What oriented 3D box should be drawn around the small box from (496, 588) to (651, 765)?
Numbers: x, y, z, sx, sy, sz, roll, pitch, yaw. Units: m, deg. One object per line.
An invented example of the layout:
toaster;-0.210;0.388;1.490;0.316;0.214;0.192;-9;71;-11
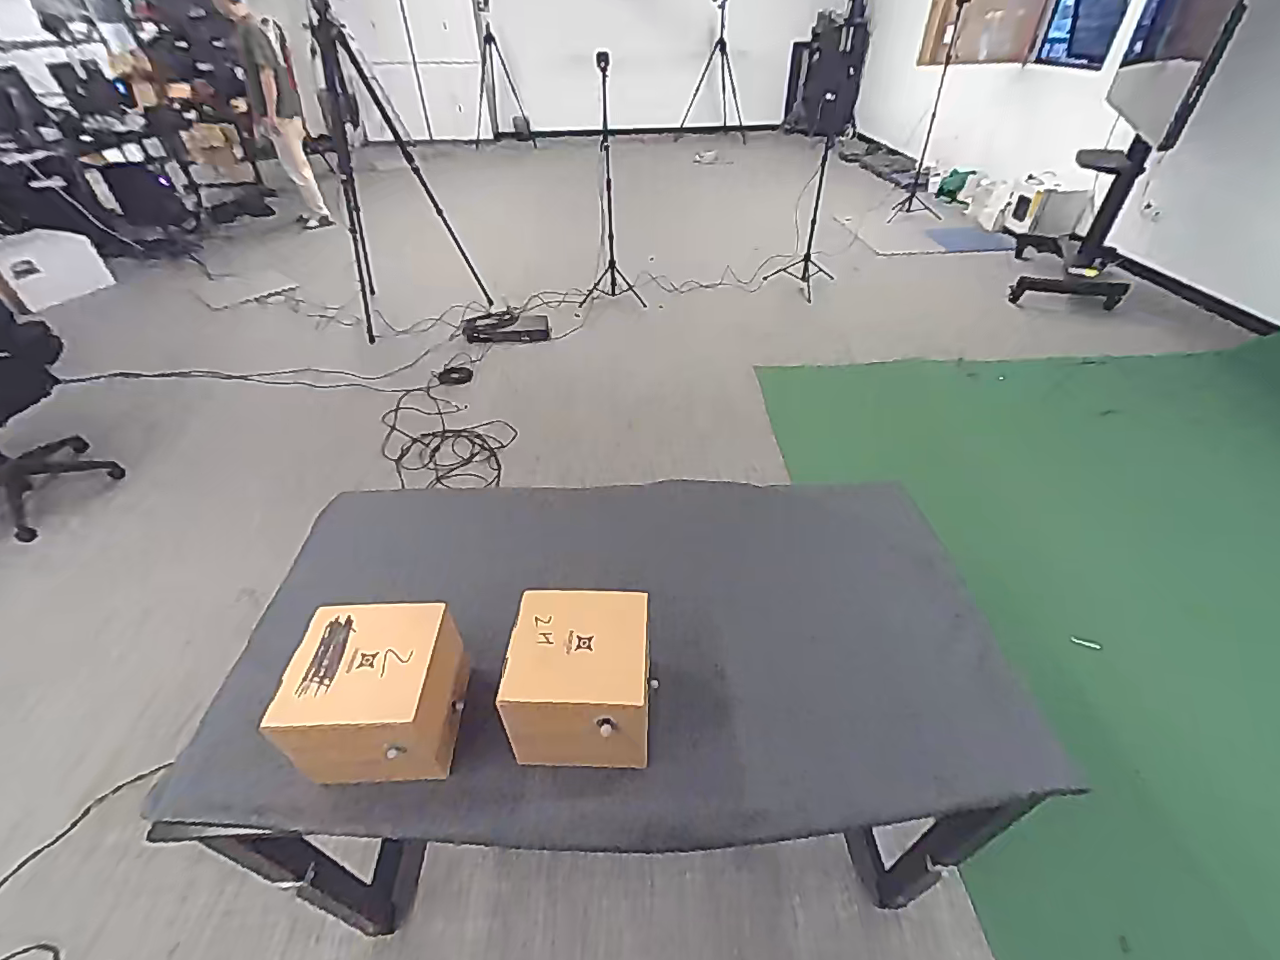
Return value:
small box;-0.075;0.267;0.735;0.179;0.176;0.168;0;39;4
